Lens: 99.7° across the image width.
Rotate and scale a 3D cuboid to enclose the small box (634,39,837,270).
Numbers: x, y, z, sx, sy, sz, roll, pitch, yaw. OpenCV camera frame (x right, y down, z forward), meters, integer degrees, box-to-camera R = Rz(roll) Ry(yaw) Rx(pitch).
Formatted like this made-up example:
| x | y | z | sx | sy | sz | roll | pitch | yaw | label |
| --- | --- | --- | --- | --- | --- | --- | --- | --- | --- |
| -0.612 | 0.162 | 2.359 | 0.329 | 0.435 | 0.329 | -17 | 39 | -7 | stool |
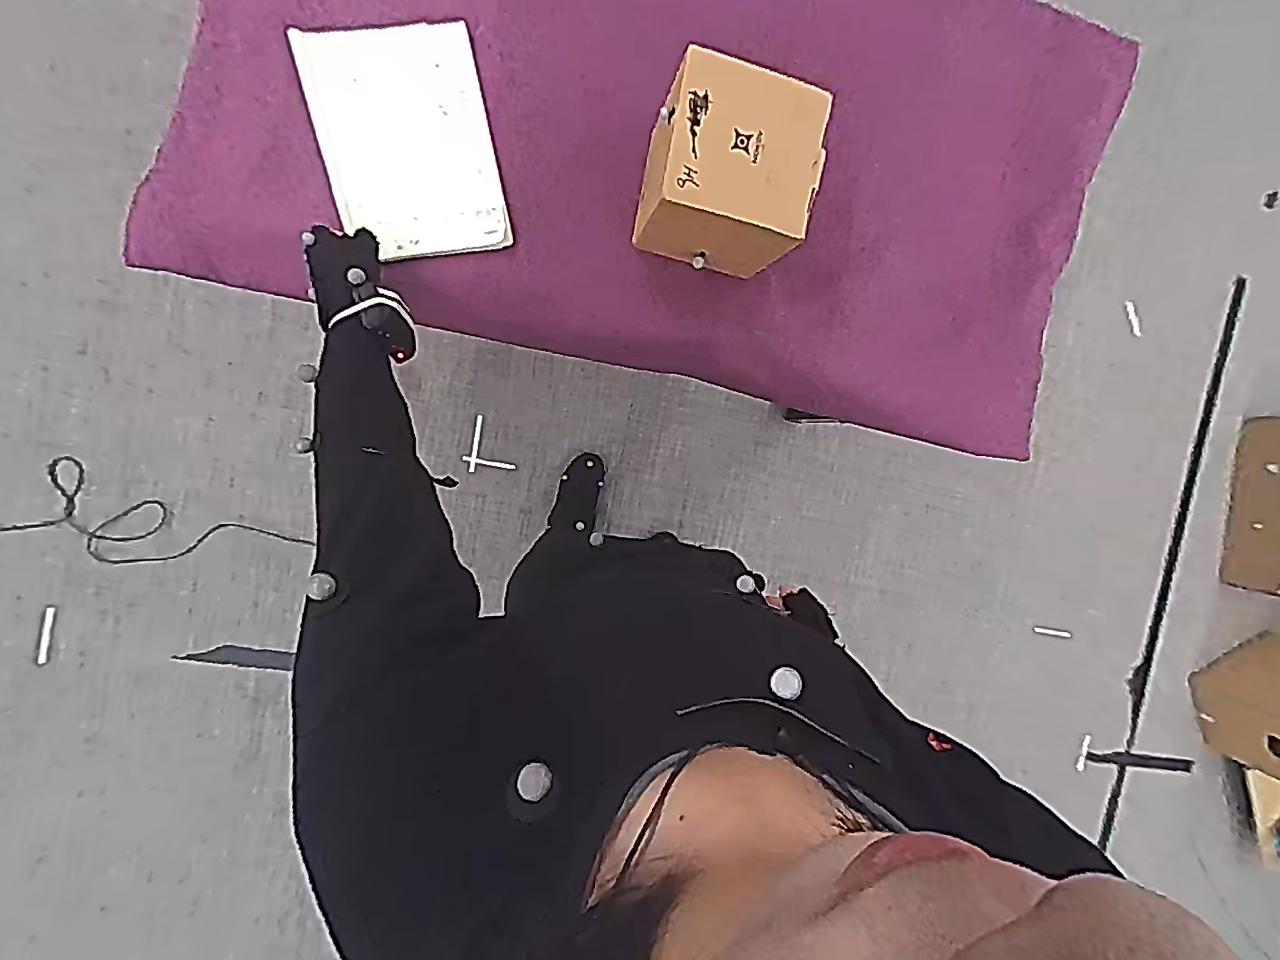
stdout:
| x | y | z | sx | sy | sz | roll | pitch | yaw | label |
| --- | --- | --- | --- | --- | --- | --- | --- | --- | --- |
| 0.106 | -0.376 | 0.667 | 0.179 | 0.176 | 0.168 | 10 | 92 | -13 | small box |
